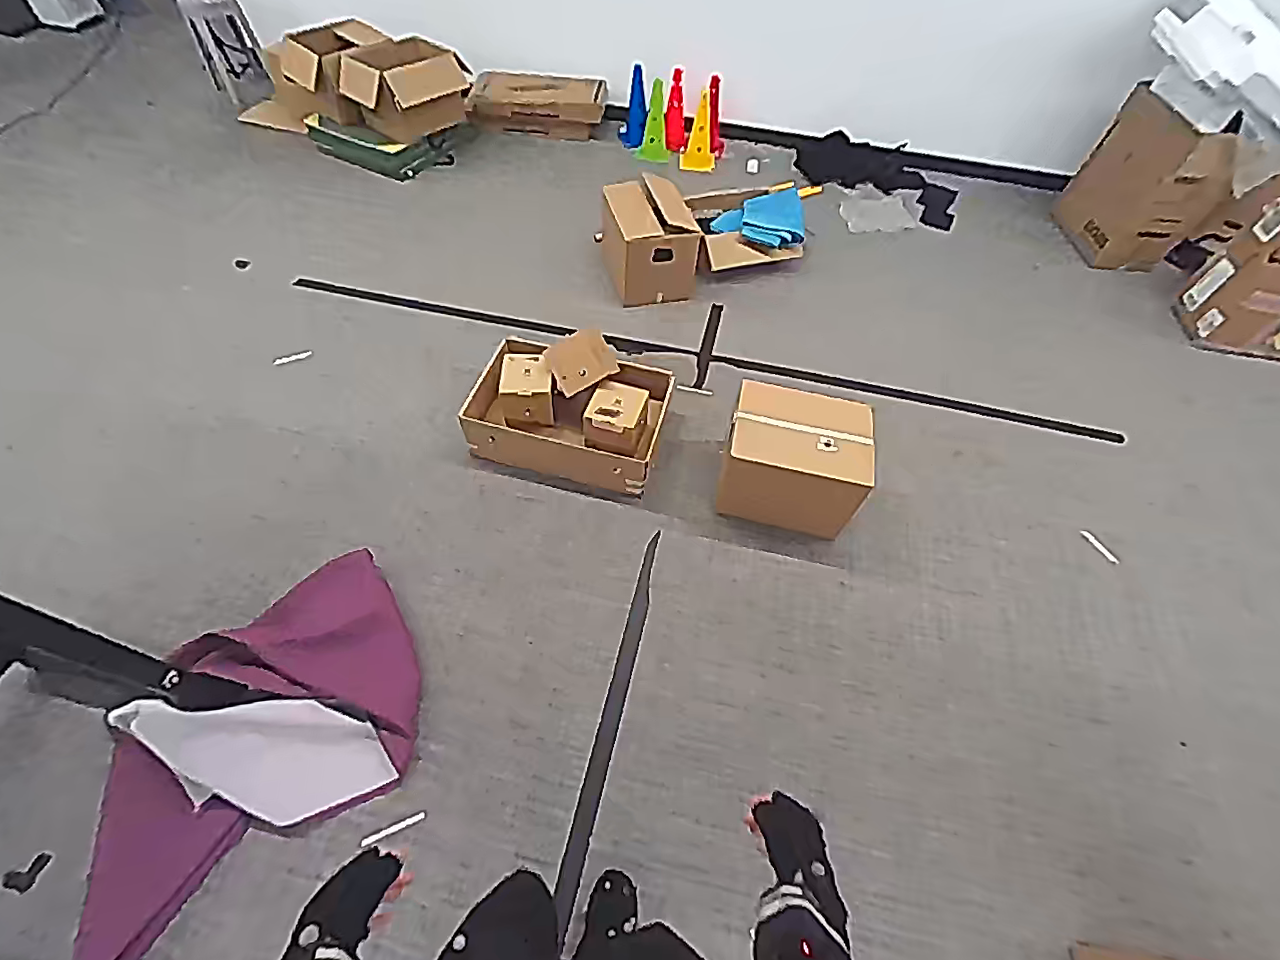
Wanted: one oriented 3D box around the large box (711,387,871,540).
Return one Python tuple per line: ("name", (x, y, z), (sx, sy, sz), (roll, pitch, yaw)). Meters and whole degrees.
("large box", (0.460, -0.046, 1.703), (0.408, 0.320, 0.320), (12, 56, 4))
